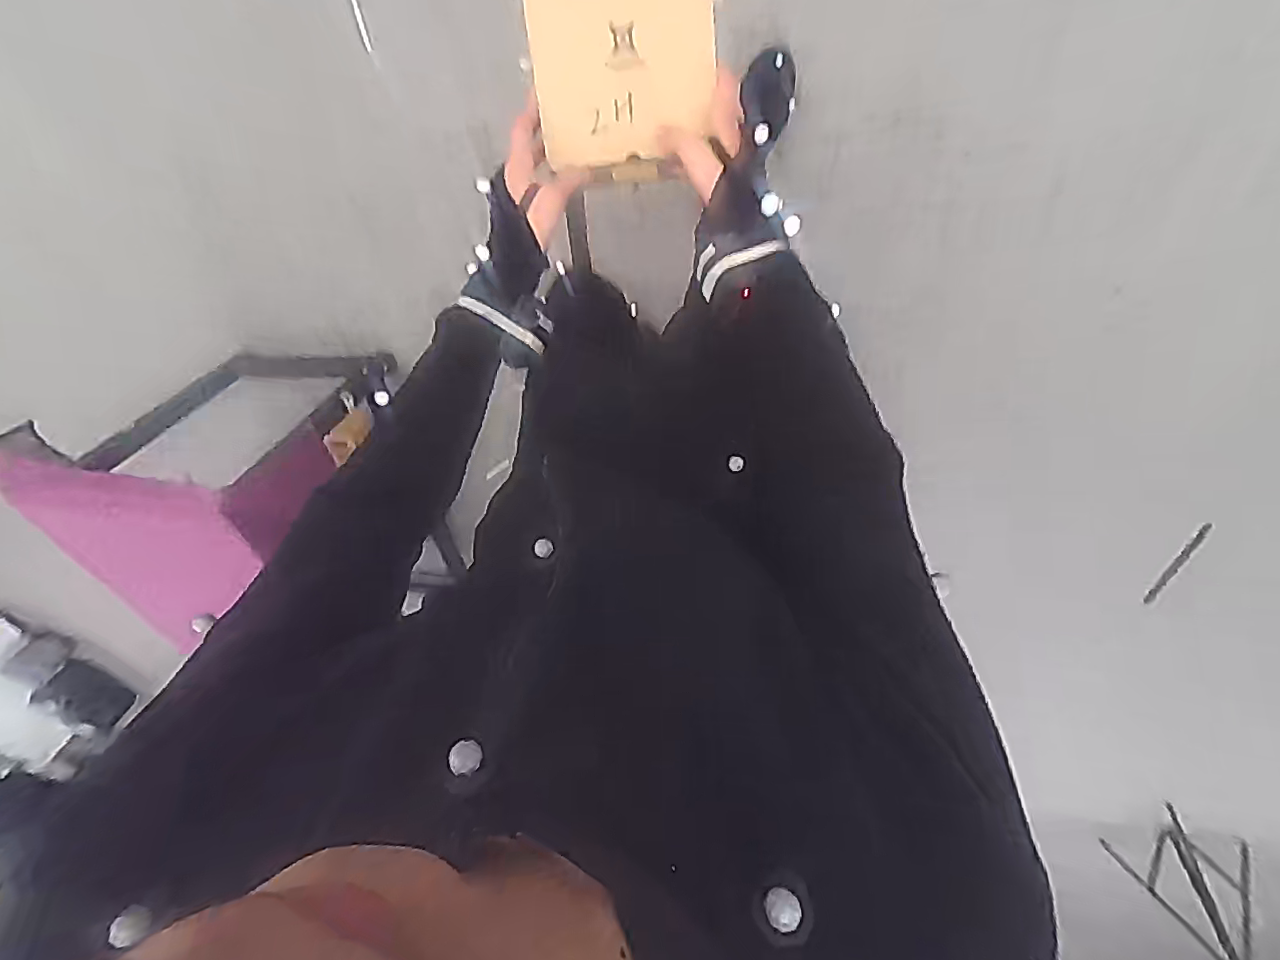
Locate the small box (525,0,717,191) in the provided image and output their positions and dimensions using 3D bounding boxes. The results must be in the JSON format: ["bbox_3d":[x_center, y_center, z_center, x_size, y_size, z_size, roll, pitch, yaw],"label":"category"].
[{"bbox_3d":[-0.017,-0.412,0.556,0.168,0.176,0.179,-6,113,1],"label":"small box"}]
